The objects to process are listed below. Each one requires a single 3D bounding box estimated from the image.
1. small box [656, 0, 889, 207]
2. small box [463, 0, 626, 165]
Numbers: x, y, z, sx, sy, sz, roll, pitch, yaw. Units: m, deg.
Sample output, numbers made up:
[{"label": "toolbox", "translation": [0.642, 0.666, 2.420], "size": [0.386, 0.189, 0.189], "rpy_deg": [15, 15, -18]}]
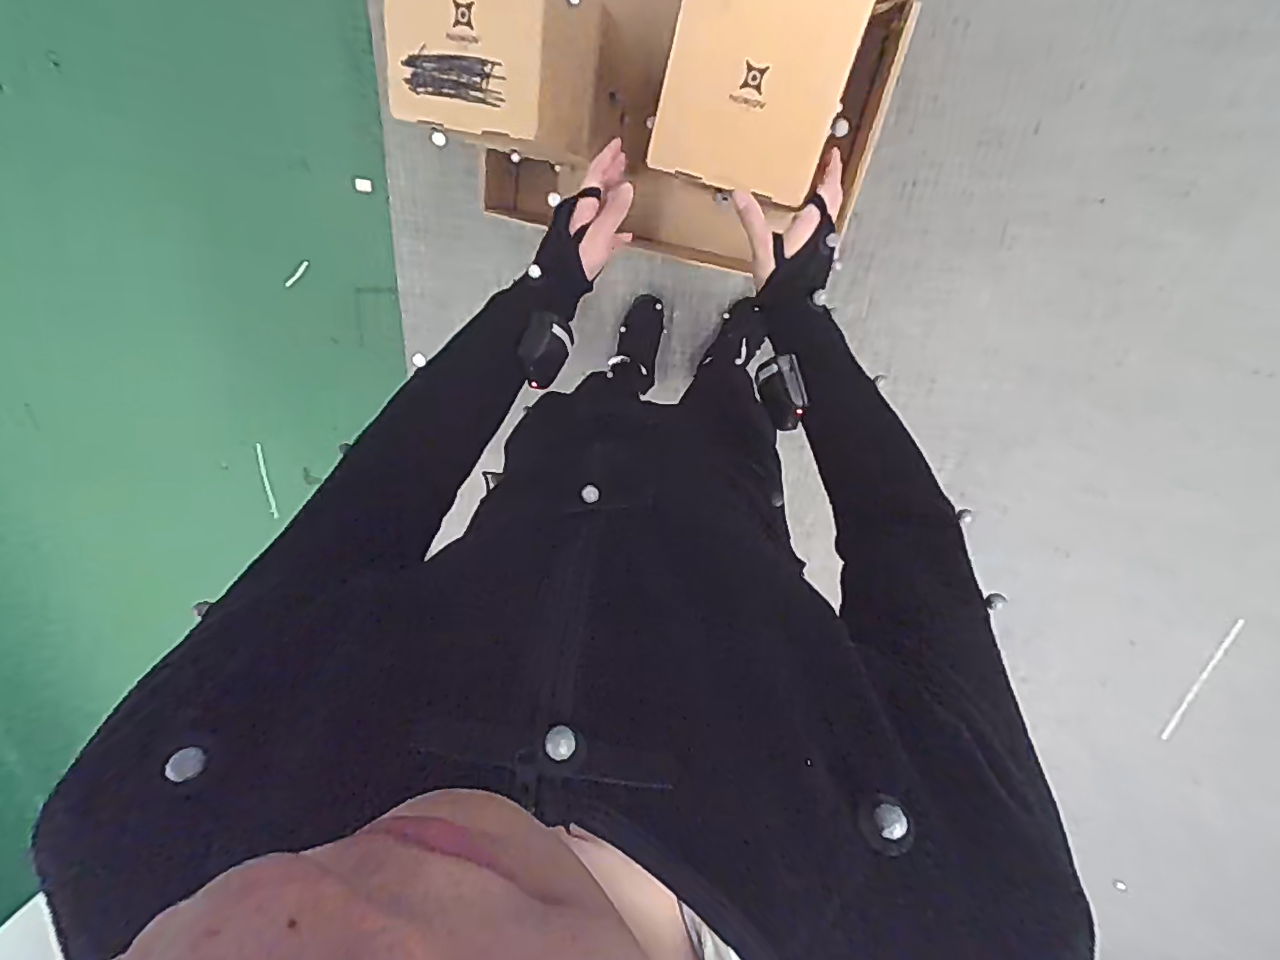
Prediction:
[{"label": "small box", "translation": [0.128, -0.401, 0.564], "size": [0.168, 0.176, 0.179], "rpy_deg": [18, 118, 4]}, {"label": "small box", "translation": [-0.122, -0.546, 0.732], "size": [0.168, 0.176, 0.179], "rpy_deg": [14, 117, 8]}]
